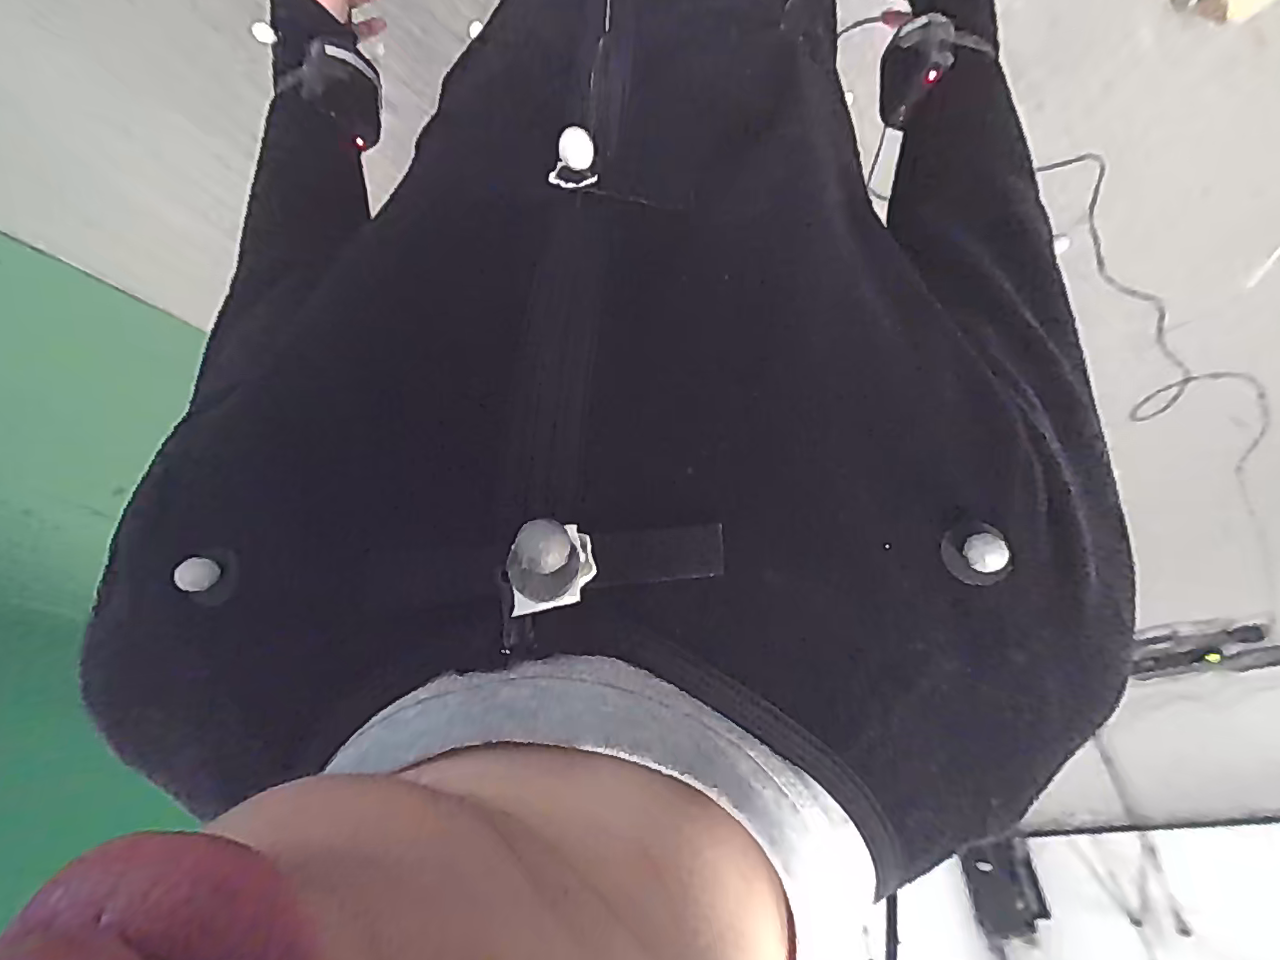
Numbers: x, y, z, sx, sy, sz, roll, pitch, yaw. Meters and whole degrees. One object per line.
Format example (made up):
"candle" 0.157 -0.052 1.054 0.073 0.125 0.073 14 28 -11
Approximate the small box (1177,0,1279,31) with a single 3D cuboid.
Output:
"small box" 1.028 -0.910 0.897 0.168 0.176 0.179 31 133 -30
